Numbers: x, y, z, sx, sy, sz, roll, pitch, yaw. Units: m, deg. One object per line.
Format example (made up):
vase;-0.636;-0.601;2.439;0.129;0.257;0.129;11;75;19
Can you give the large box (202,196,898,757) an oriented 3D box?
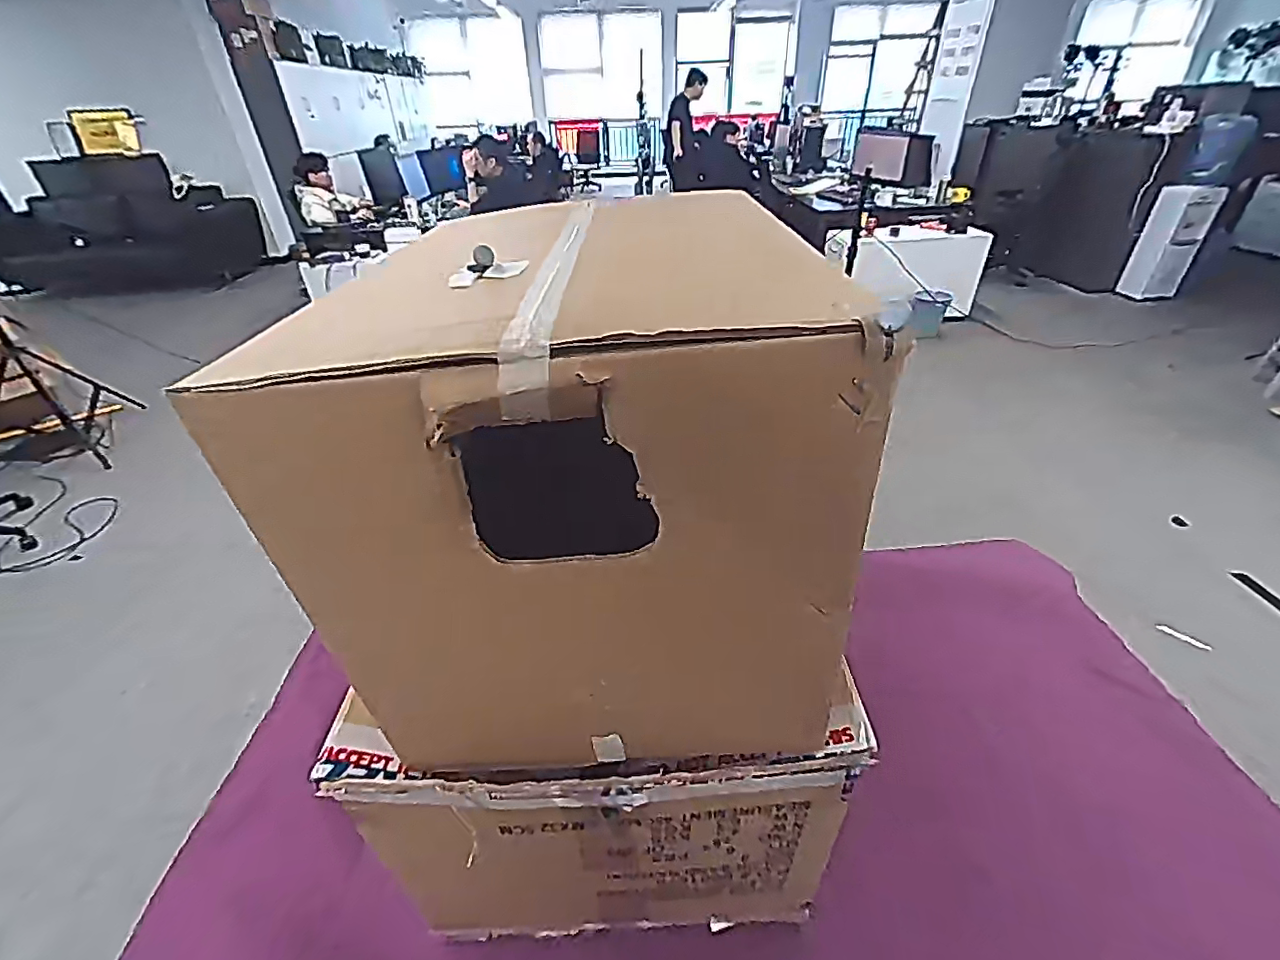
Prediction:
large box;-0.036;-0.038;0.476;0.320;0.320;0.408;-6;35;3
